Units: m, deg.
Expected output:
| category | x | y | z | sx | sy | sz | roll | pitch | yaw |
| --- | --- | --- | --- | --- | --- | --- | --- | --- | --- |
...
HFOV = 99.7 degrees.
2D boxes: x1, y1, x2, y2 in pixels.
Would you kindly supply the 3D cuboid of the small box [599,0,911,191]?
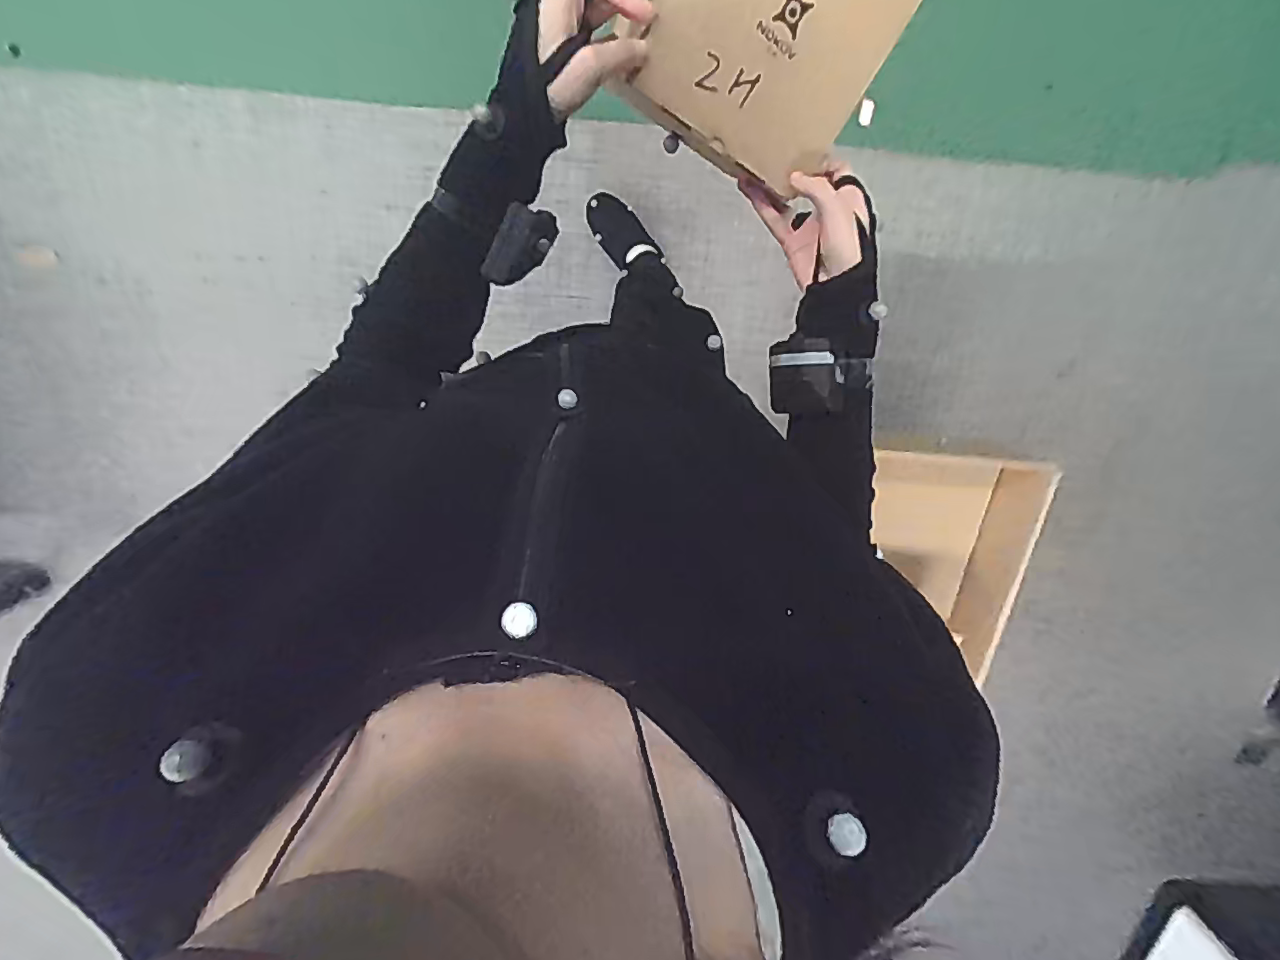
| category | x | y | z | sx | sy | sz | roll | pitch | yaw |
| --- | --- | --- | --- | --- | --- | --- | --- | --- | --- |
| small box | 0.080 | -0.374 | 0.435 | 0.168 | 0.176 | 0.179 | 20 | 119 | -27 |
